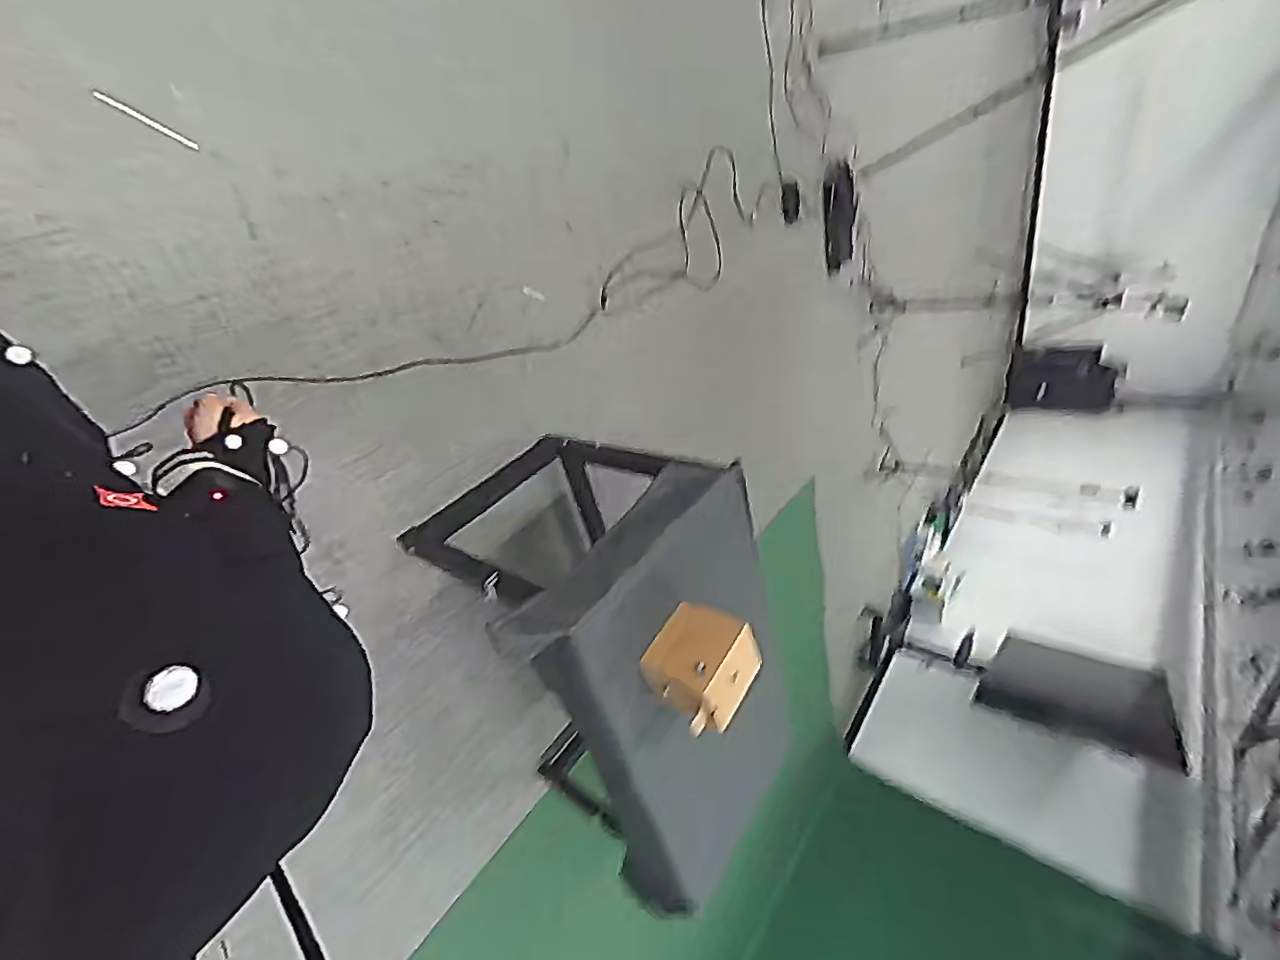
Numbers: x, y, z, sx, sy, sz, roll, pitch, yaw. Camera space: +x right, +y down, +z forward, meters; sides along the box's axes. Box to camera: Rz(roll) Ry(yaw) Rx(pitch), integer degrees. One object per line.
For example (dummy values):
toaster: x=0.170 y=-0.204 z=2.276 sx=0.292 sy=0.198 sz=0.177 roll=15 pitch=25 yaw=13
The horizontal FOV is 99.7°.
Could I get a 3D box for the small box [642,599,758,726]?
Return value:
small box: x=0.132 y=0.391 z=1.185 sx=0.179 sy=0.176 sz=0.168 roll=-49 pitch=133 yaw=-30
